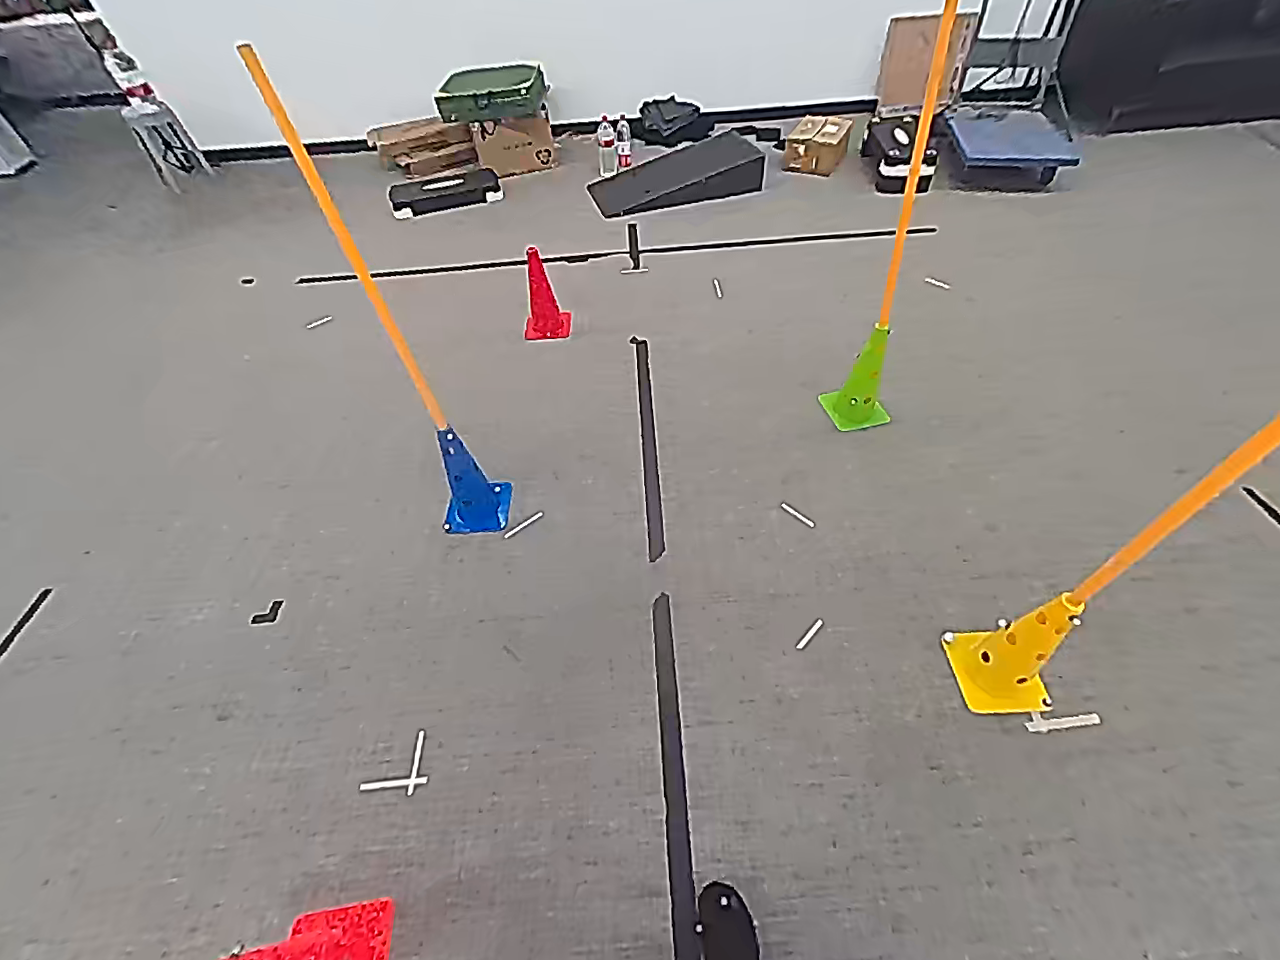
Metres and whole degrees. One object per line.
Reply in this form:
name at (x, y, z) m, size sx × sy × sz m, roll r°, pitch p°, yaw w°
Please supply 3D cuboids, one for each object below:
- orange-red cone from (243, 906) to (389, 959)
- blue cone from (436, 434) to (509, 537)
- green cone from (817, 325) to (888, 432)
orange-red cone at (-0.589, 0.823, 0.888) m, size 0.199 × 0.360 × 0.198 m, roll -7°, pitch 49°, yaw -4°
blue cone at (-0.533, -0.002, 1.629) m, size 0.193 × 0.380 × 0.192 m, roll -2°, pitch 49°, yaw 2°
green cone at (0.765, -0.368, 1.843) m, size 0.200 × 0.368 × 0.202 m, roll -13°, pitch 51°, yaw -7°
